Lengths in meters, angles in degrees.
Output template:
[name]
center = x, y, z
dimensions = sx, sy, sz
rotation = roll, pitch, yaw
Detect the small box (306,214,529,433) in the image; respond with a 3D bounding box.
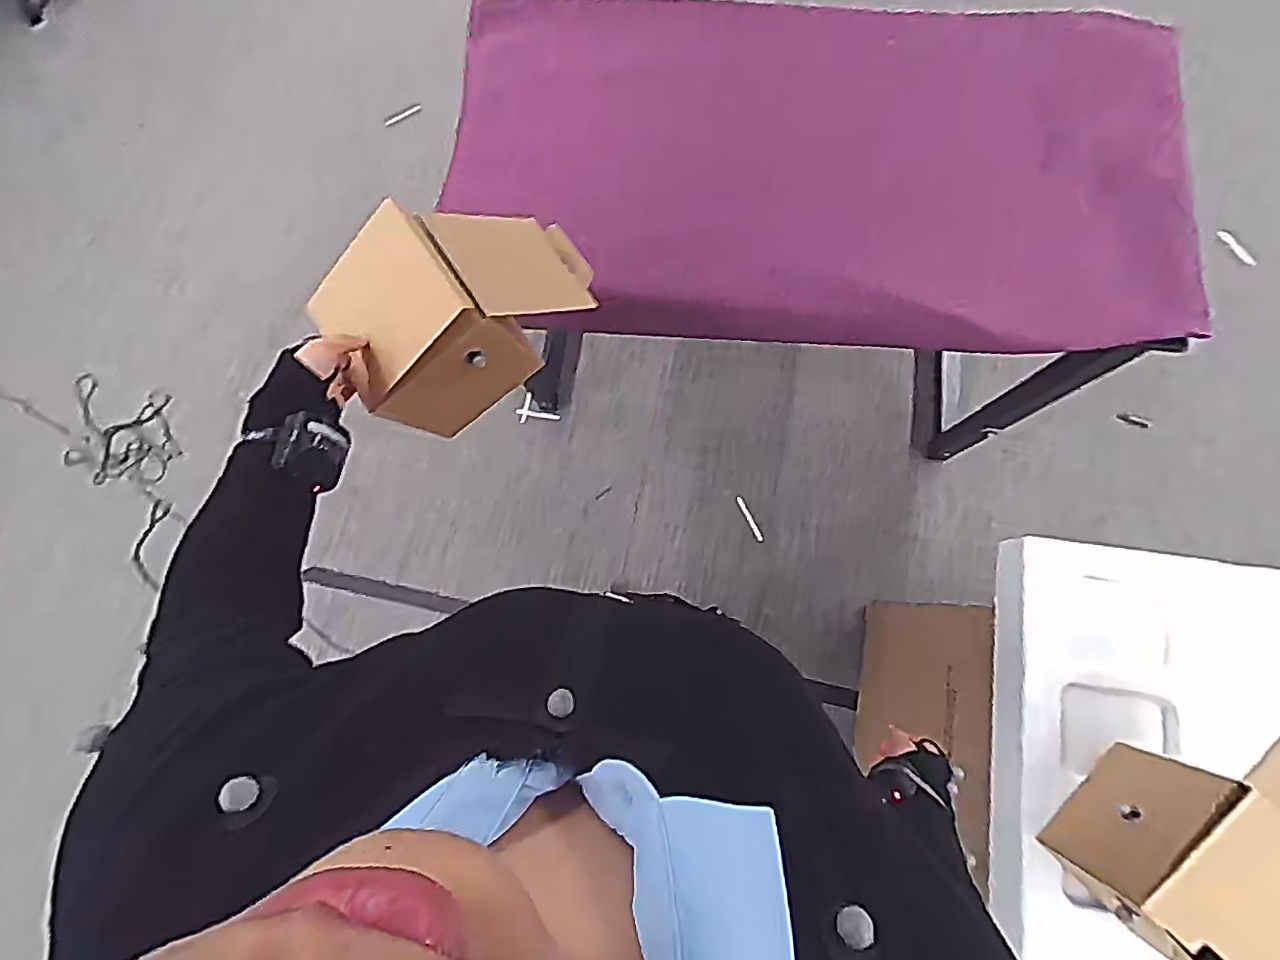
[small box]
center = -0.264, -0.184, 0.688
dimensions = 0.179, 0.176, 0.168
rotation = -37, 77, 6
